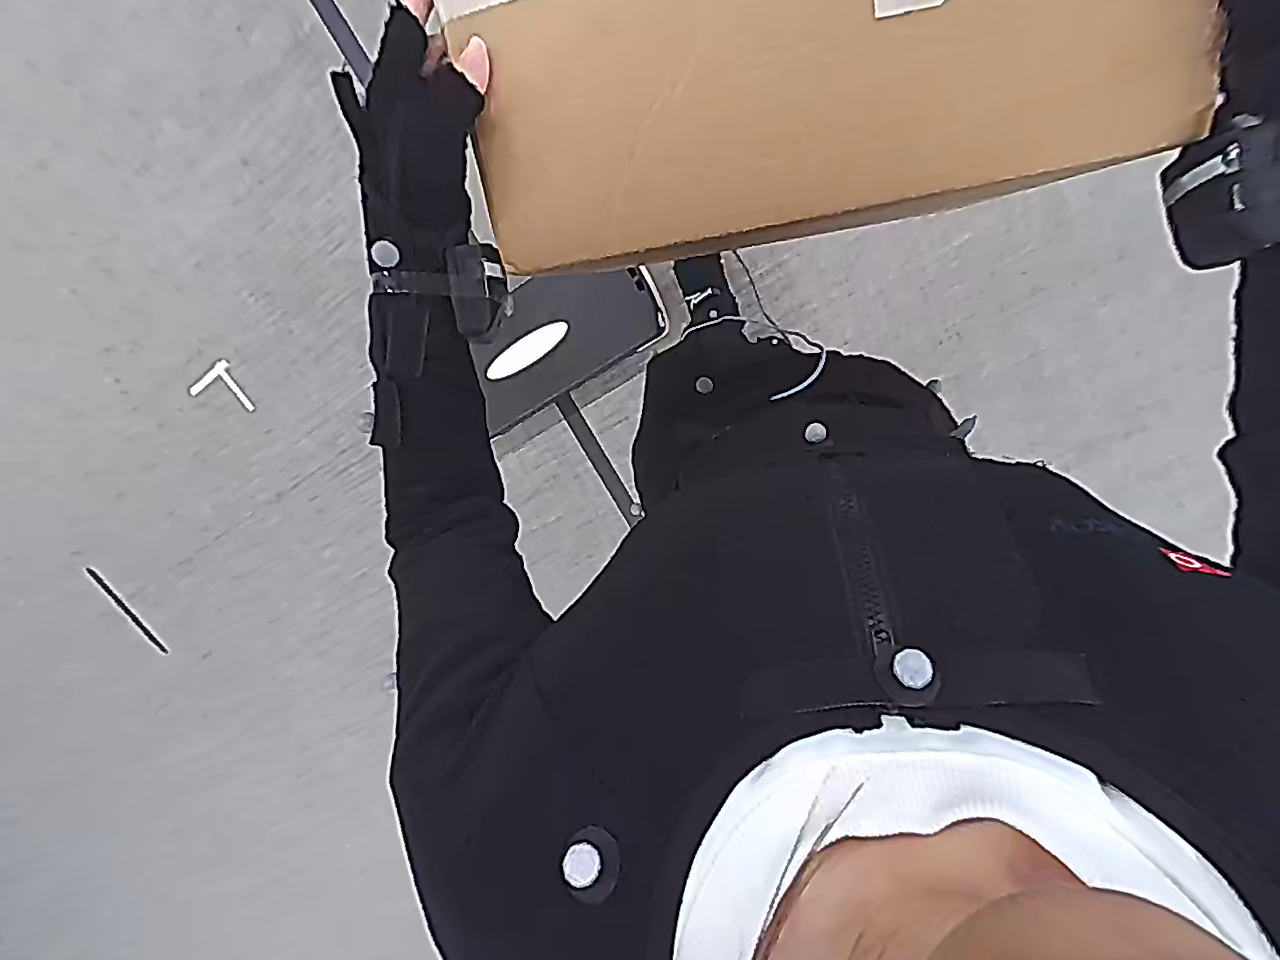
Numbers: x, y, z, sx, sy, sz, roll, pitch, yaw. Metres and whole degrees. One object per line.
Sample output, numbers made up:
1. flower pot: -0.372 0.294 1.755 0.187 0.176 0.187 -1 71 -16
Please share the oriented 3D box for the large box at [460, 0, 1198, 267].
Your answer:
1. large box: 0.102 -0.370 0.427 0.408 0.320 0.320 -6 111 12
